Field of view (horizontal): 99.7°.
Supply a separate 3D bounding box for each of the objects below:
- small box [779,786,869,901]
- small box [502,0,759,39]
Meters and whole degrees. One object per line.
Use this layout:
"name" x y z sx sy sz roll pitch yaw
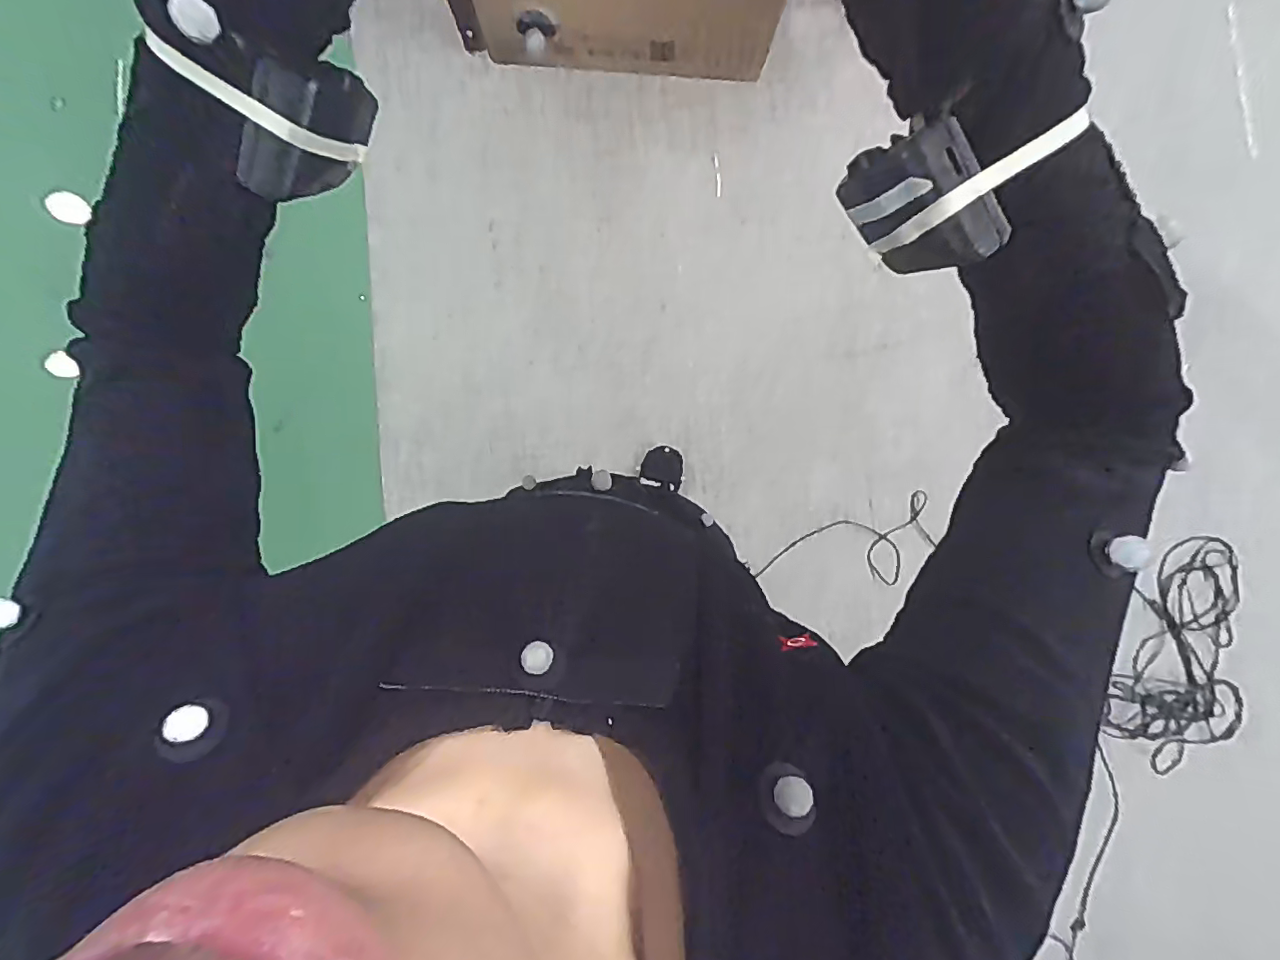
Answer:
"small box" 0.457 0.908 1.362 0.168 0.176 0.179 -5 87 -1
"small box" -0.008 -0.350 0.244 0.168 0.176 0.179 3 89 -1
